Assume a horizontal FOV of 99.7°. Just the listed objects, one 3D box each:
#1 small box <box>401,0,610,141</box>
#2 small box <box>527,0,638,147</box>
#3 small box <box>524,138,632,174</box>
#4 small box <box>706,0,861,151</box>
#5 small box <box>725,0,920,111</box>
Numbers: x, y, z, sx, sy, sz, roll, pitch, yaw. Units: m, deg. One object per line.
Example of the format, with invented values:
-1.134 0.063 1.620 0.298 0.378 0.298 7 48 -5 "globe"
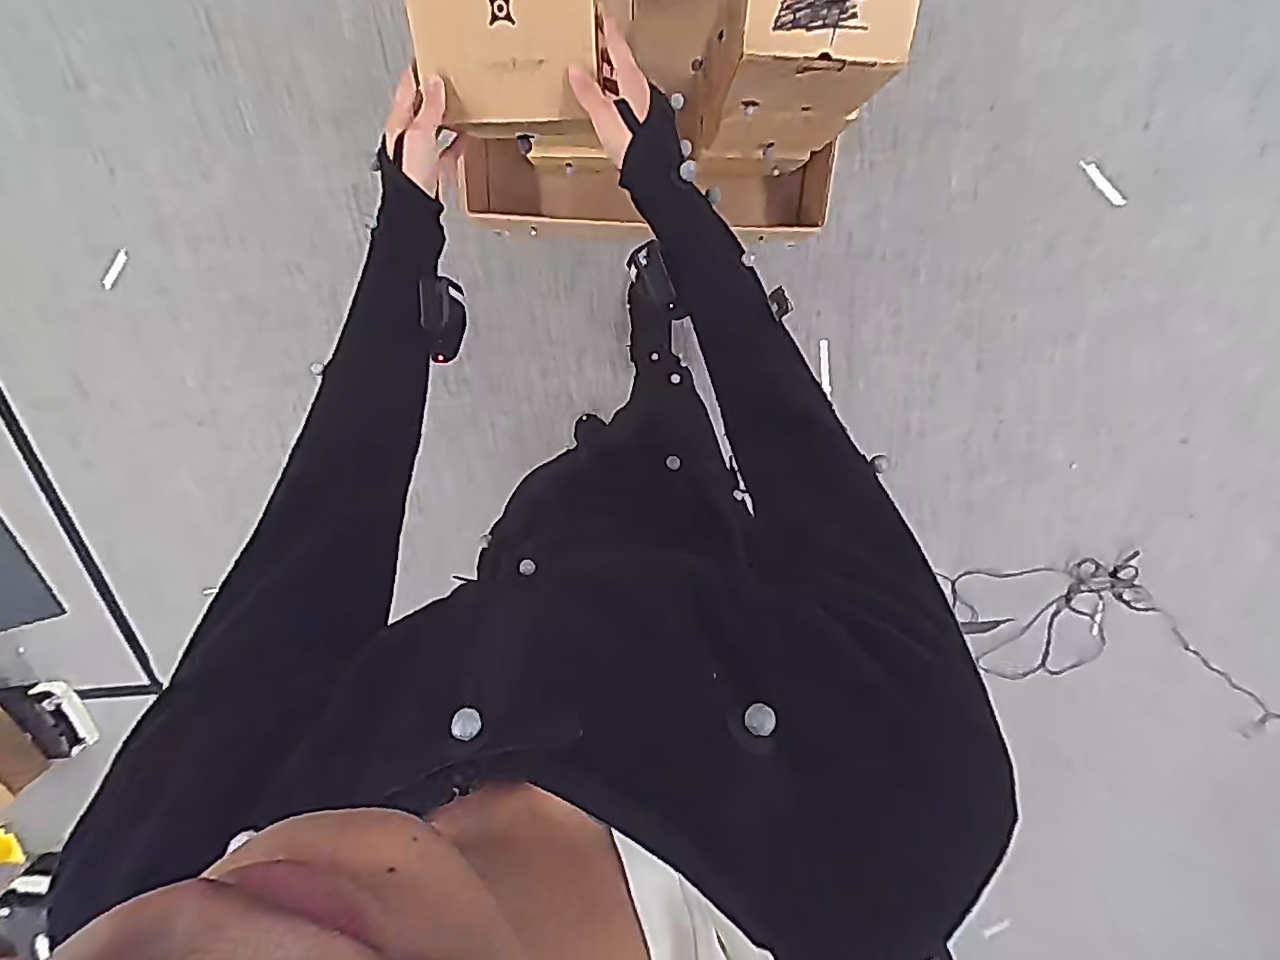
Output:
-0.118 -0.440 0.524 0.168 0.176 0.179 0 118 2 "small box"
-0.094 -0.568 0.736 0.179 0.176 0.168 2 110 -1 "small box"
-0.097 -0.617 0.893 0.168 0.176 0.179 1 110 0 "small box"
0.190 -0.558 0.731 0.179 0.176 0.168 0 110 0 "small box"
0.187 -0.516 0.571 0.168 0.176 0.179 4 109 0 "small box"
